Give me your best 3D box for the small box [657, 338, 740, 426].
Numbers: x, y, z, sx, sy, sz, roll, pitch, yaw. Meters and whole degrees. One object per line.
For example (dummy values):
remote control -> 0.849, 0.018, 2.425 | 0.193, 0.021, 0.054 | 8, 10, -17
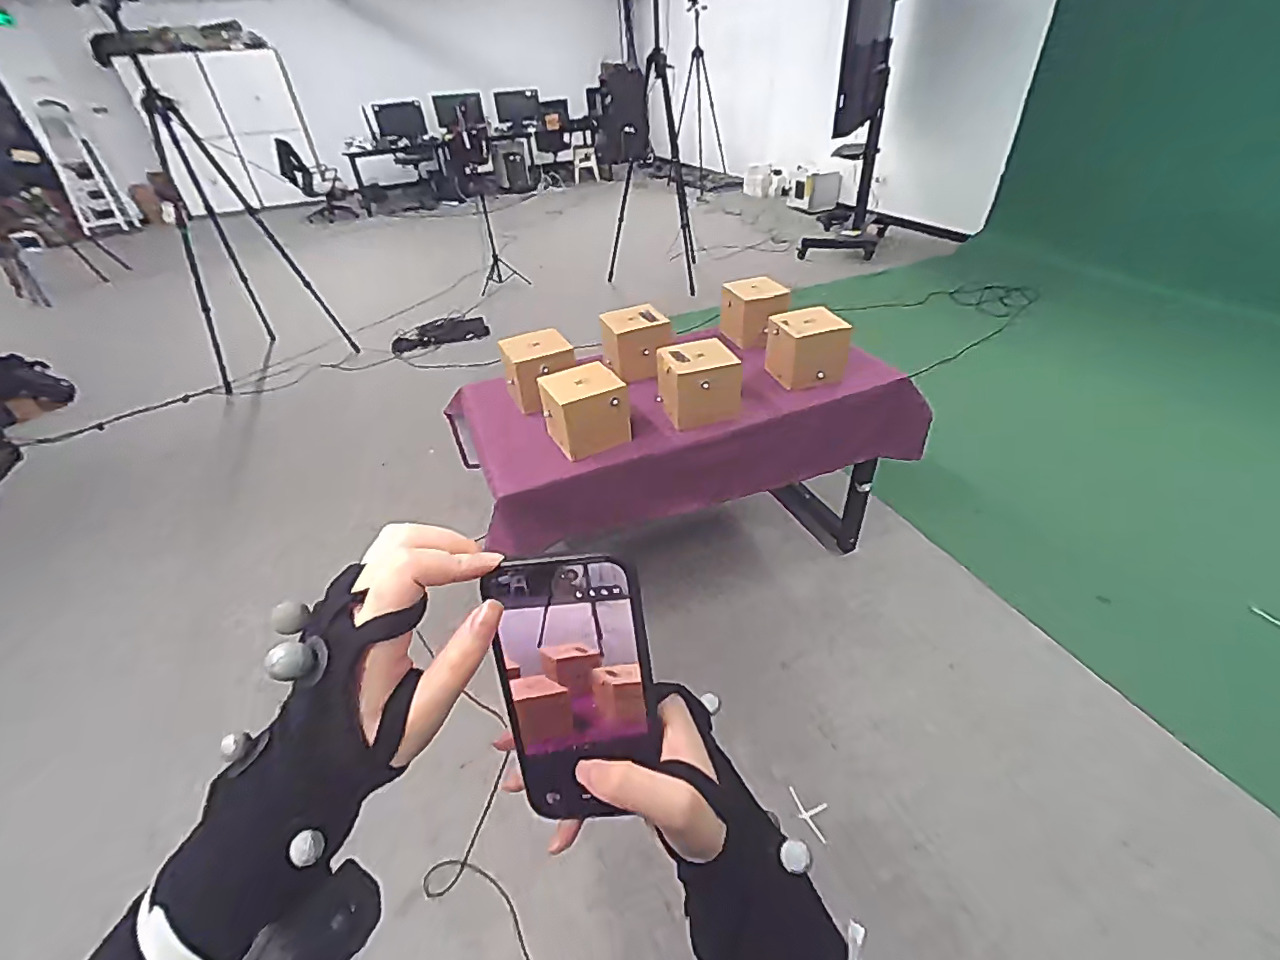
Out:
small box -> 0.154, -0.262, 1.454 | 0.179, 0.176, 0.168 | -12, 39, -12

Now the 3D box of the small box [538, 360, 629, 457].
small box -> -0.141, -0.181, 1.381 | 0.179, 0.176, 0.168 | -20, 41, -21

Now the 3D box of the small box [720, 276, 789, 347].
small box -> 0.376, -0.565, 1.811 | 0.168, 0.176, 0.179 | -15, 41, -12

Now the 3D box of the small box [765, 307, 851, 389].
small box -> 0.481, -0.385, 1.577 | 0.179, 0.176, 0.168 | -12, 39, -10
